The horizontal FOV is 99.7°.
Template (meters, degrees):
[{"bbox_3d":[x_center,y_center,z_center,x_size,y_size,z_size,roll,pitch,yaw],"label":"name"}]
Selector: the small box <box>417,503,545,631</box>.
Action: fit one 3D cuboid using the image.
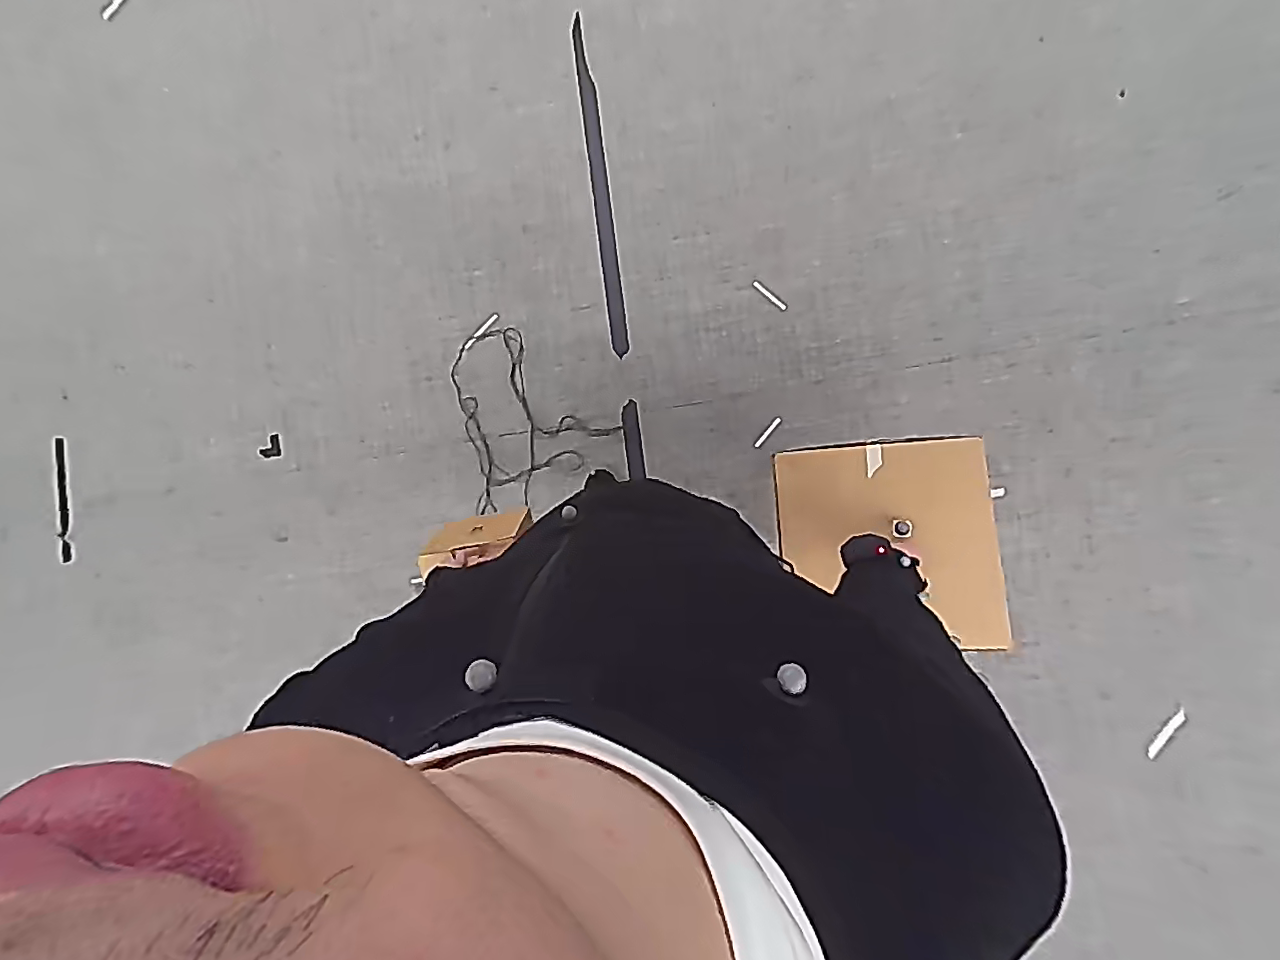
[{"bbox_3d":[-0.279,0.161,0.993,0.168,0.179,0.176,-11,106,0],"label":"small box"}]
